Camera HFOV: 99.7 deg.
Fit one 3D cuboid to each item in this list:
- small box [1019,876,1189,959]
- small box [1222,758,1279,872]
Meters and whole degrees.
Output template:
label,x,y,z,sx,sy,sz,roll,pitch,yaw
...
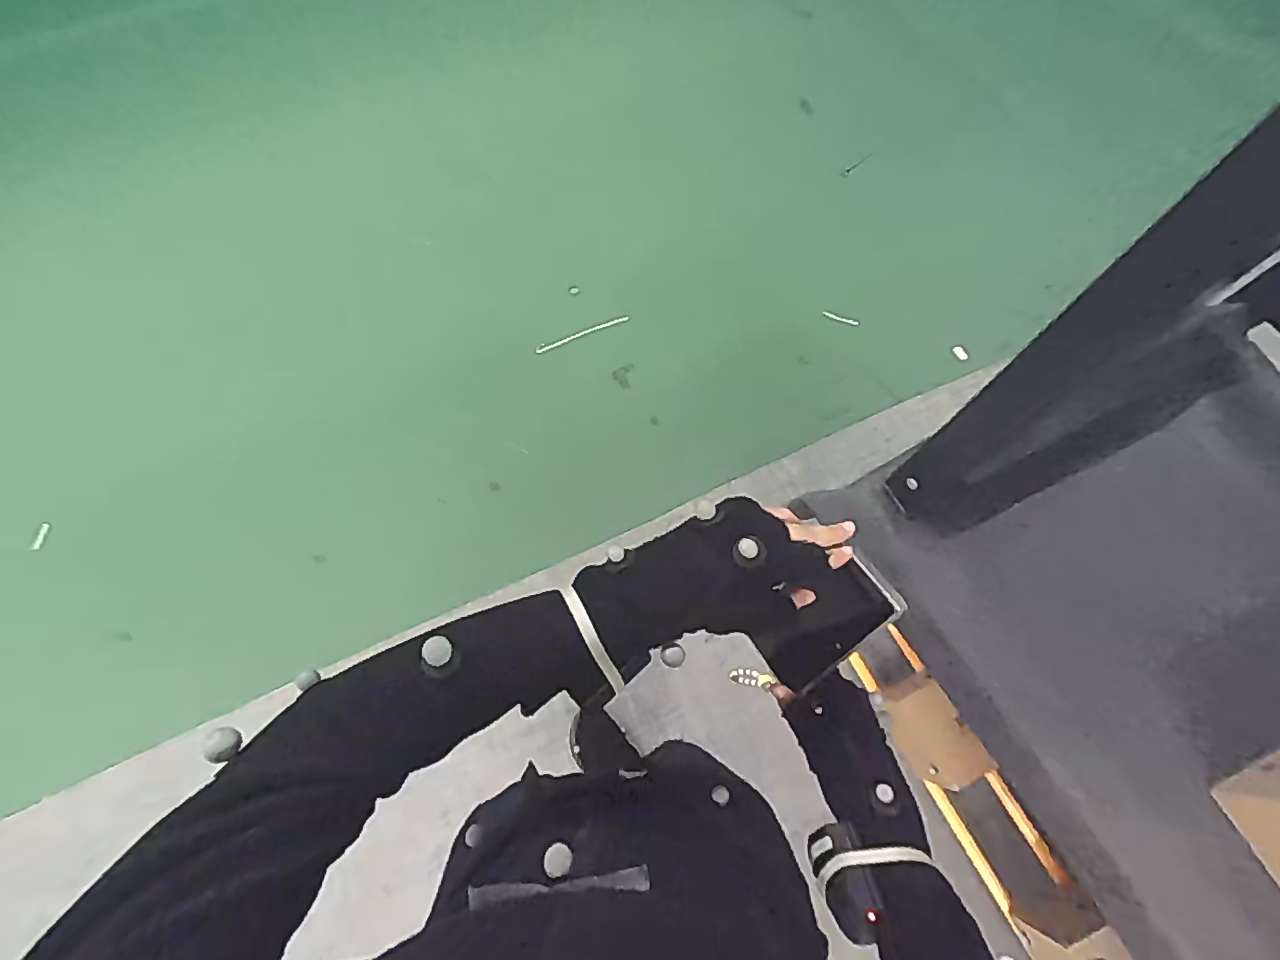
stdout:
label,x,y,z,sx,sy,sz,roll,pitch,yaw
small box,0.815,0.839,0.948,0.179,0.176,0.168,-22,68,-8
small box,0.717,0.340,0.486,0.168,0.176,0.179,-22,68,-8
